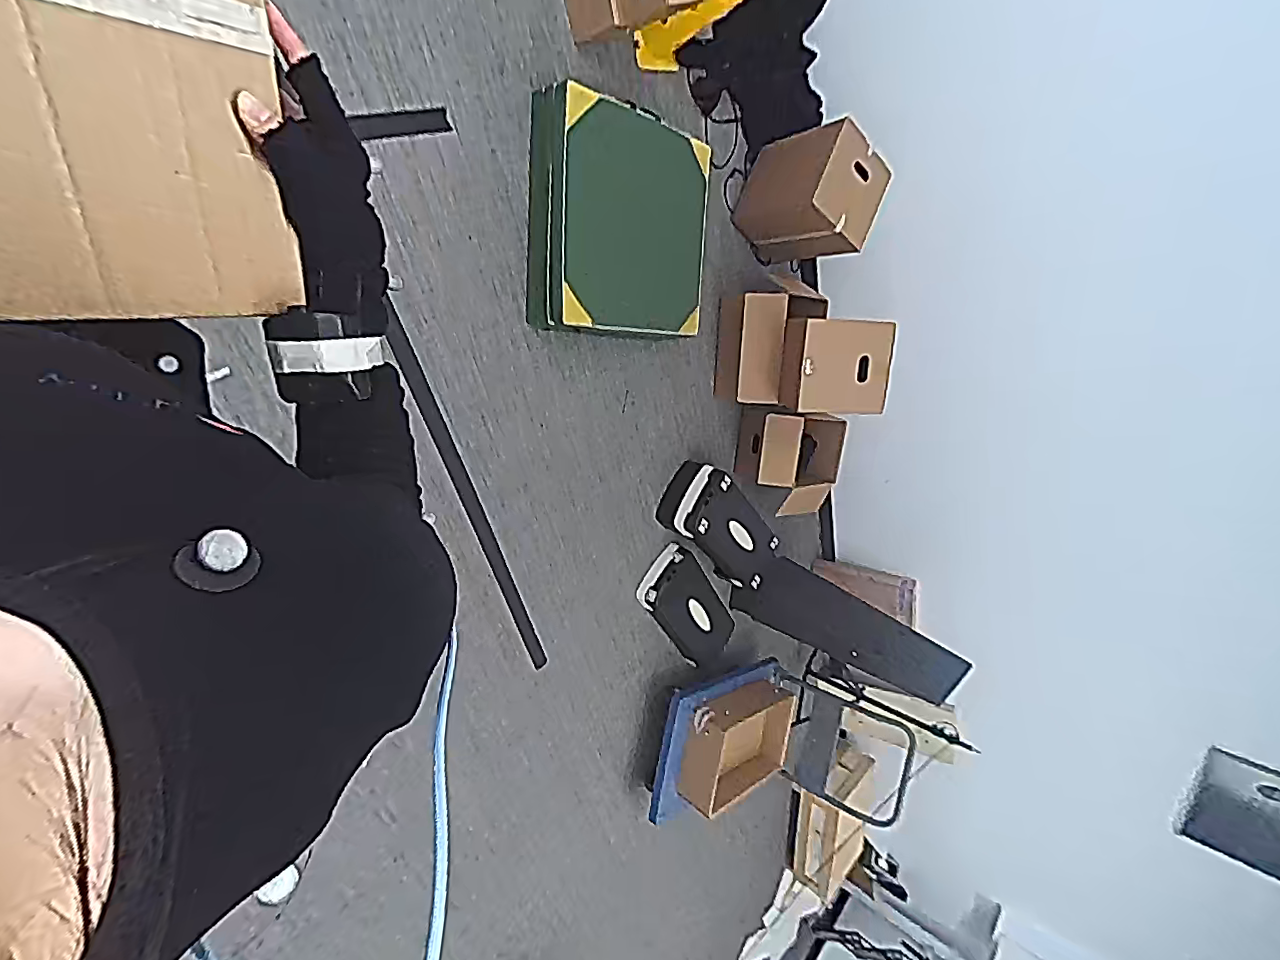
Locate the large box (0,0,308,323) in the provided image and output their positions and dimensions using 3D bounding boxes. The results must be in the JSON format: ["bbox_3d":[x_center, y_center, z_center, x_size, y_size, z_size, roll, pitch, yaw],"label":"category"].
[{"bbox_3d":[-0.465,-0.273,0.287,0.408,0.320,0.320,-17,128,-40],"label":"large box"}]
